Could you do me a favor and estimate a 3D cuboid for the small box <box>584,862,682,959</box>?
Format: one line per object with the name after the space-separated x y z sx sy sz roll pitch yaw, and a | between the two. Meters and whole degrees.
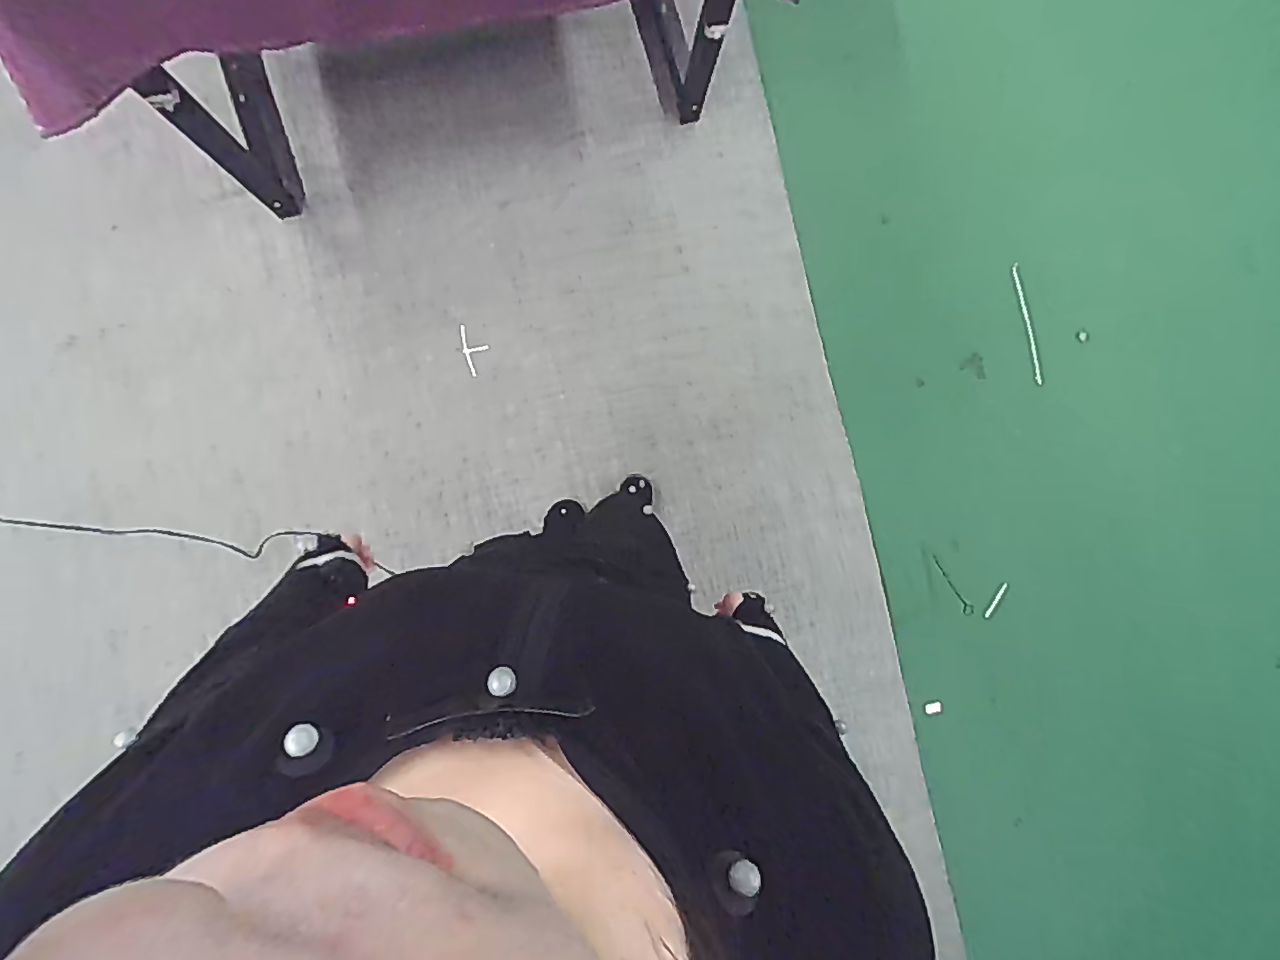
-0.014 0.944 1.119 0.179 0.176 0.168 -13 93 -7 | small box
